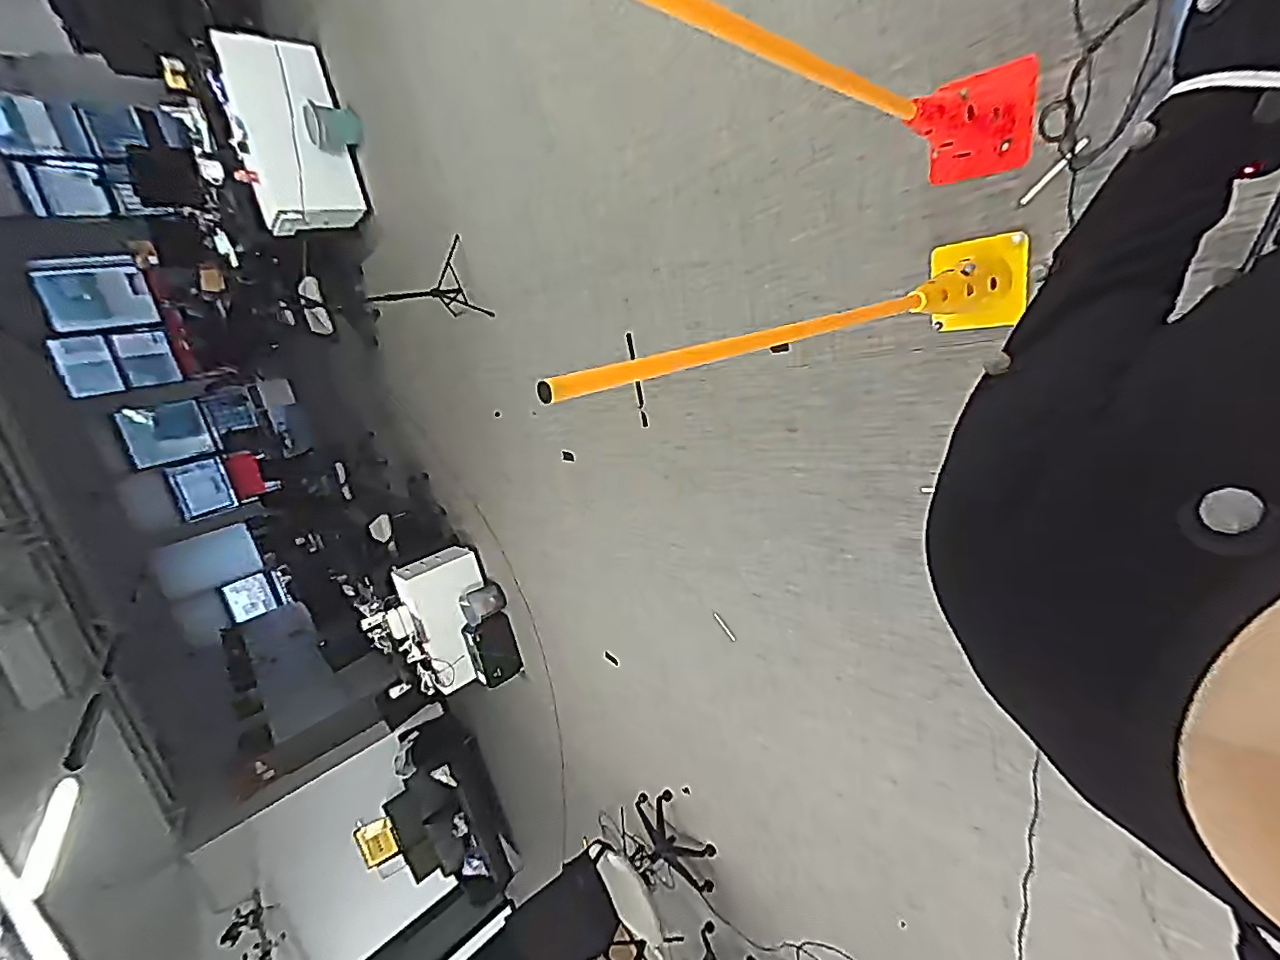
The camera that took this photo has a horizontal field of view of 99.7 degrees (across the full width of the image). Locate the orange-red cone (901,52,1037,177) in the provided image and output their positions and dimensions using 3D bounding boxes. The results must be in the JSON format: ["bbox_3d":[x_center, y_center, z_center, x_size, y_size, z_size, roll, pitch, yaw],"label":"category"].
[{"bbox_3d":[0.604,-0.725,1.059,0.198,0.360,0.199,14,118,45],"label":"orange-red cone"}]
